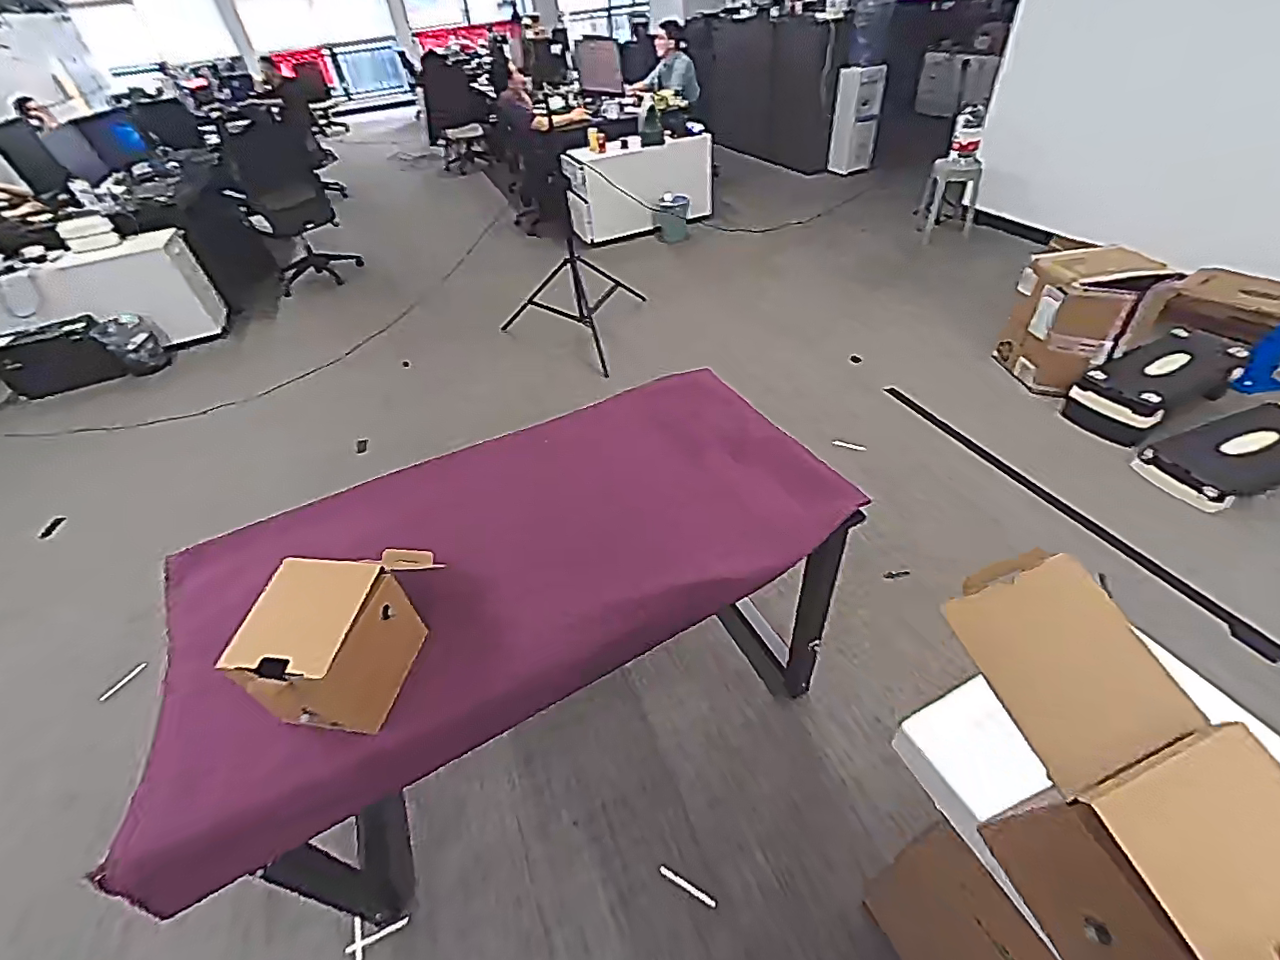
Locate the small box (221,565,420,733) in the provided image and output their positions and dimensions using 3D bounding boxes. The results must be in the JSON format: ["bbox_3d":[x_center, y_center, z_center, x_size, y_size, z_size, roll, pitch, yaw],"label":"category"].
[{"bbox_3d":[-0.460,0.253,0.819,0.168,0.176,0.179,2,43,11],"label":"small box"}]
